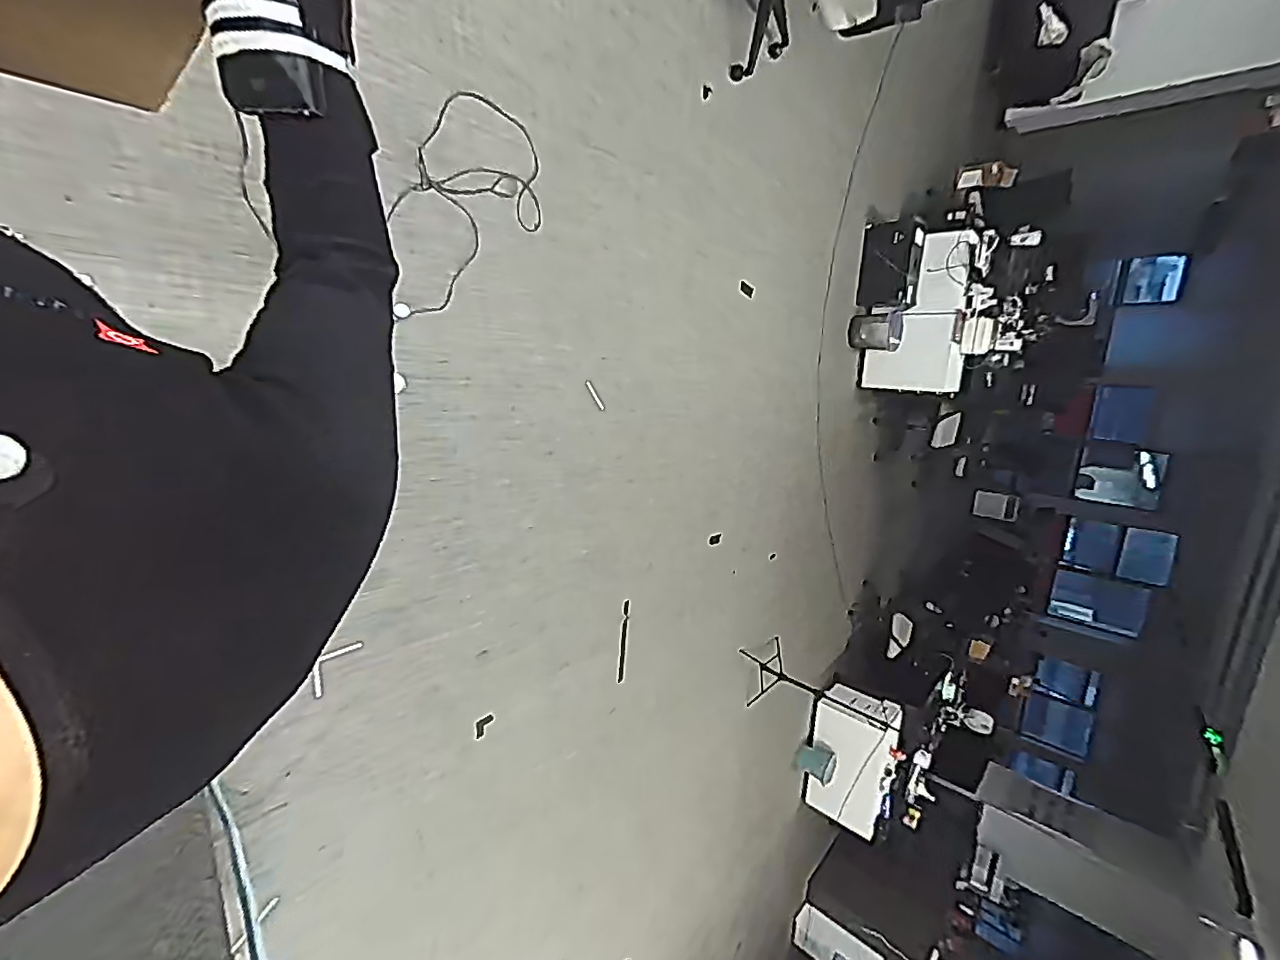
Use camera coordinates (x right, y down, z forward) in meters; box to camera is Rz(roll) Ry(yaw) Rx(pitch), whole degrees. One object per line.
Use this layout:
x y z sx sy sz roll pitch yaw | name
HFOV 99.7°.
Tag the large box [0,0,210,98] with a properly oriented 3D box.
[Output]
-0.480 -0.456 0.244 0.408 0.320 0.320 -14 108 -48 | large box
